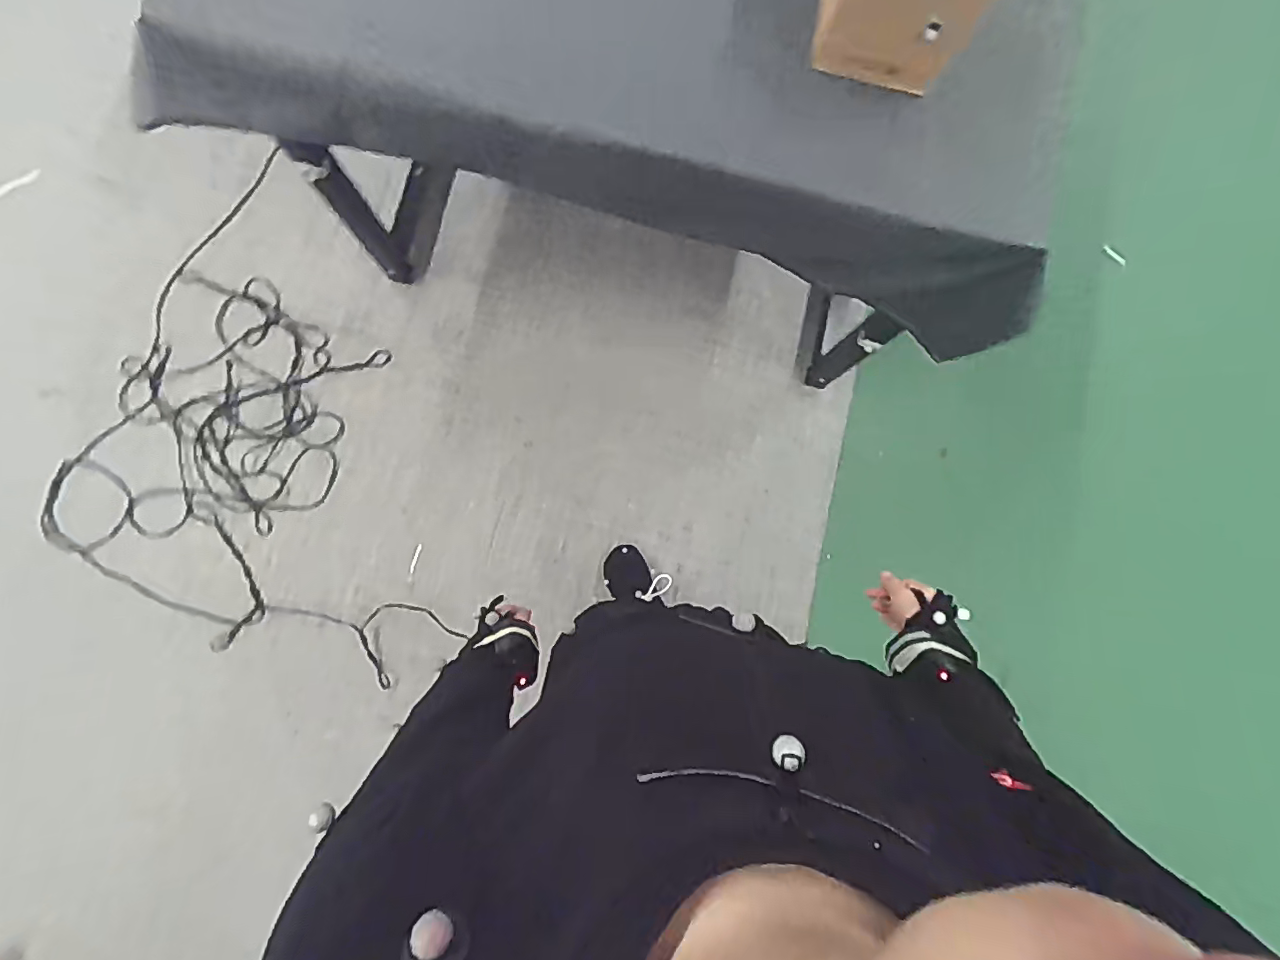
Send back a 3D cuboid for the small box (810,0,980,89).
[{"bbox_3d":[0.325,-0.632,0.663,0.168,0.176,0.179,12,82,-4],"label":"small box"}]
